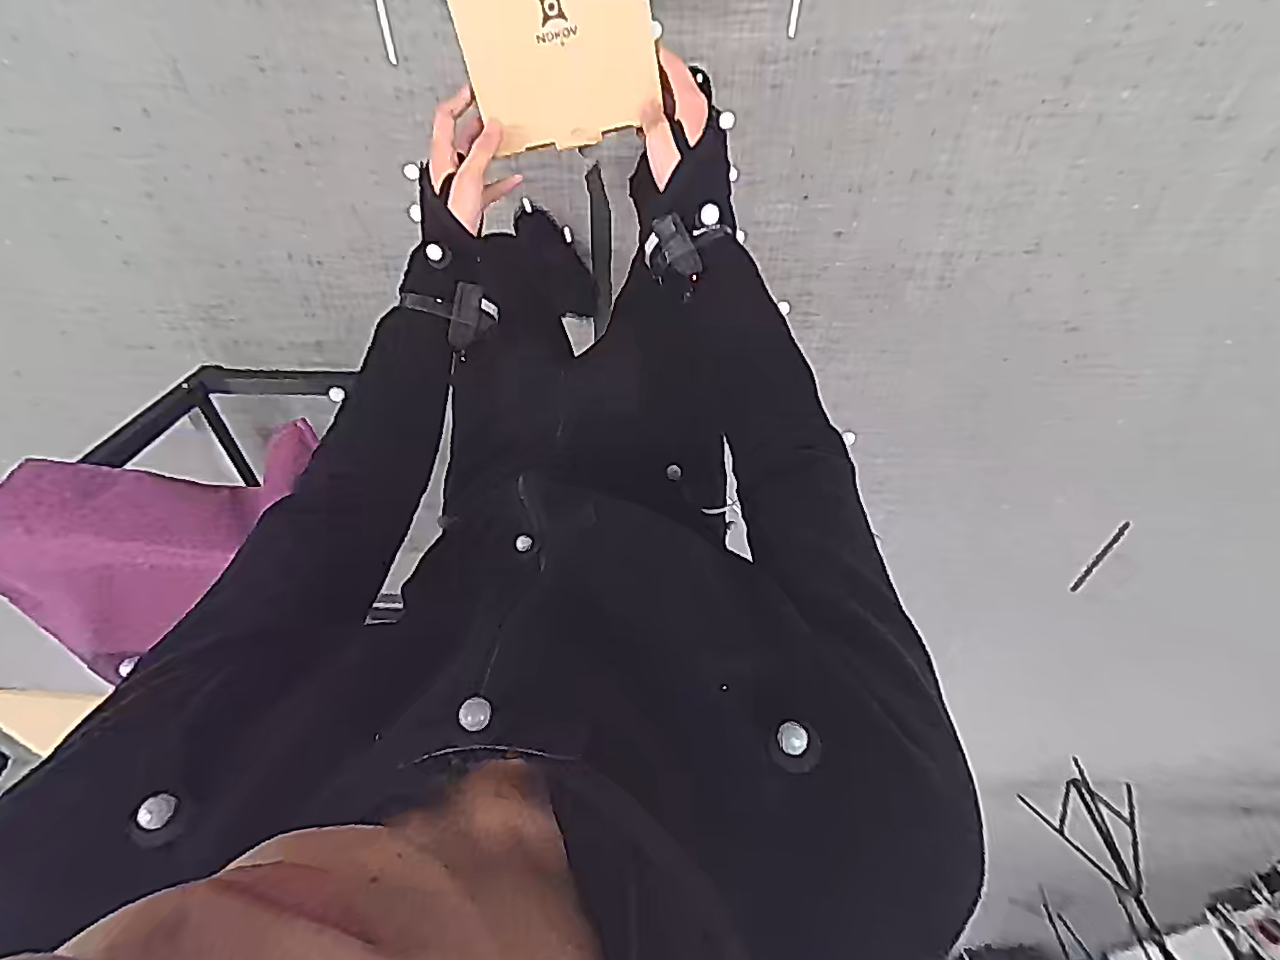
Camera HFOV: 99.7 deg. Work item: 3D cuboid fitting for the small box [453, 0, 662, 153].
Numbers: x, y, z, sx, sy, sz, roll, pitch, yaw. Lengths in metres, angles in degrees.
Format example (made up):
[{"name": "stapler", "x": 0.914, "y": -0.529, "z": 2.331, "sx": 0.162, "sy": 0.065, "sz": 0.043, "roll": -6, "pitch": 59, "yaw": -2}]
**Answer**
[{"name": "small box", "x": -0.074, "y": -0.440, "z": 0.525, "sx": 0.168, "sy": 0.176, "sz": 0.179, "roll": -10, "pitch": 124, "yaw": 4}]
